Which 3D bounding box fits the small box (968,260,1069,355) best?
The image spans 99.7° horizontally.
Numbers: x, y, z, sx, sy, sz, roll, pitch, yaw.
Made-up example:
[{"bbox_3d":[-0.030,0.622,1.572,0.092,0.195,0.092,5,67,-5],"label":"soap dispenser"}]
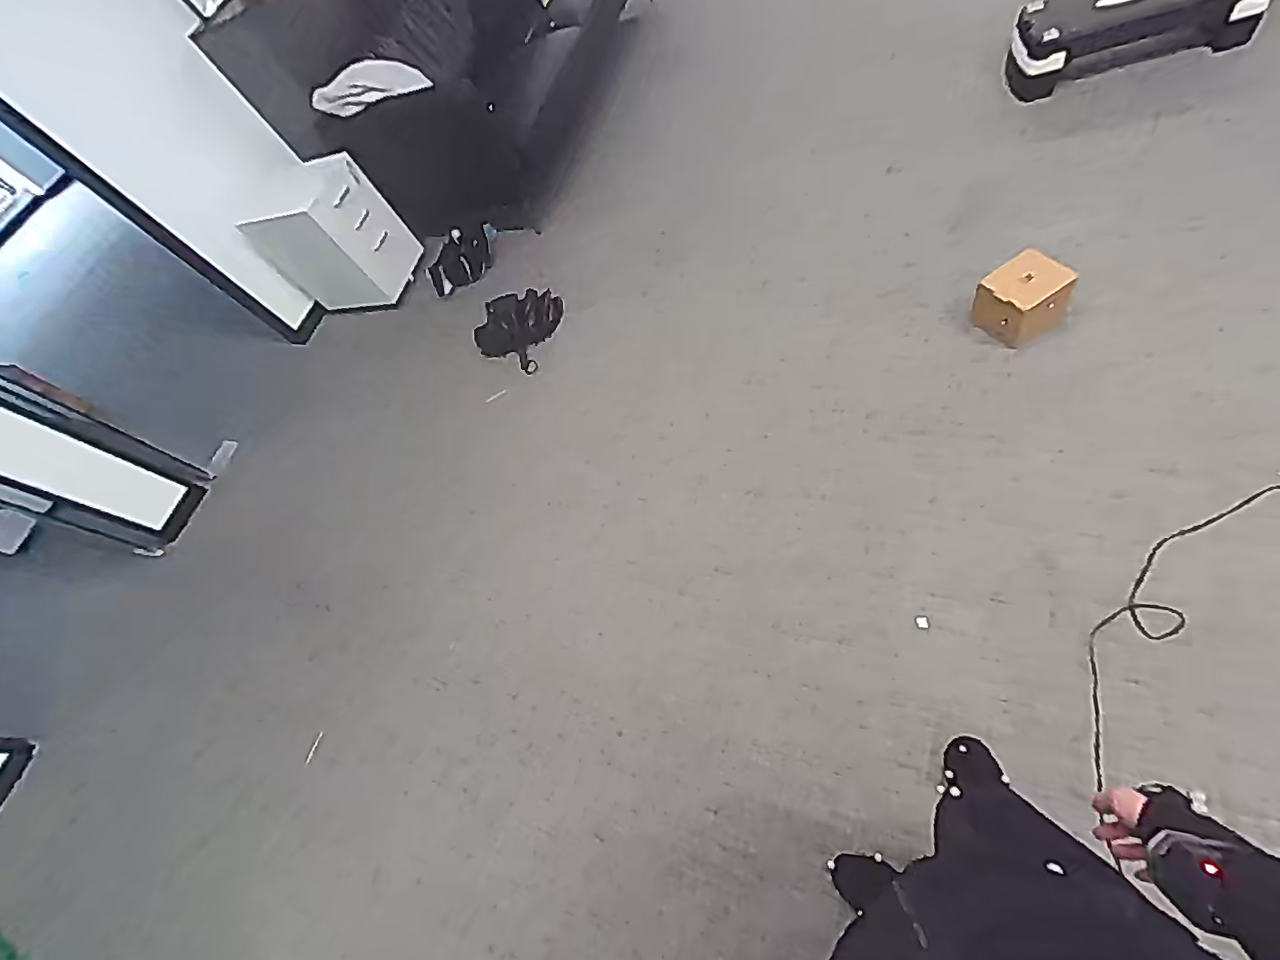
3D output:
[{"bbox_3d":[1.108,-0.506,1.603,0.179,0.176,0.168,-34,56,0],"label":"small box"}]
